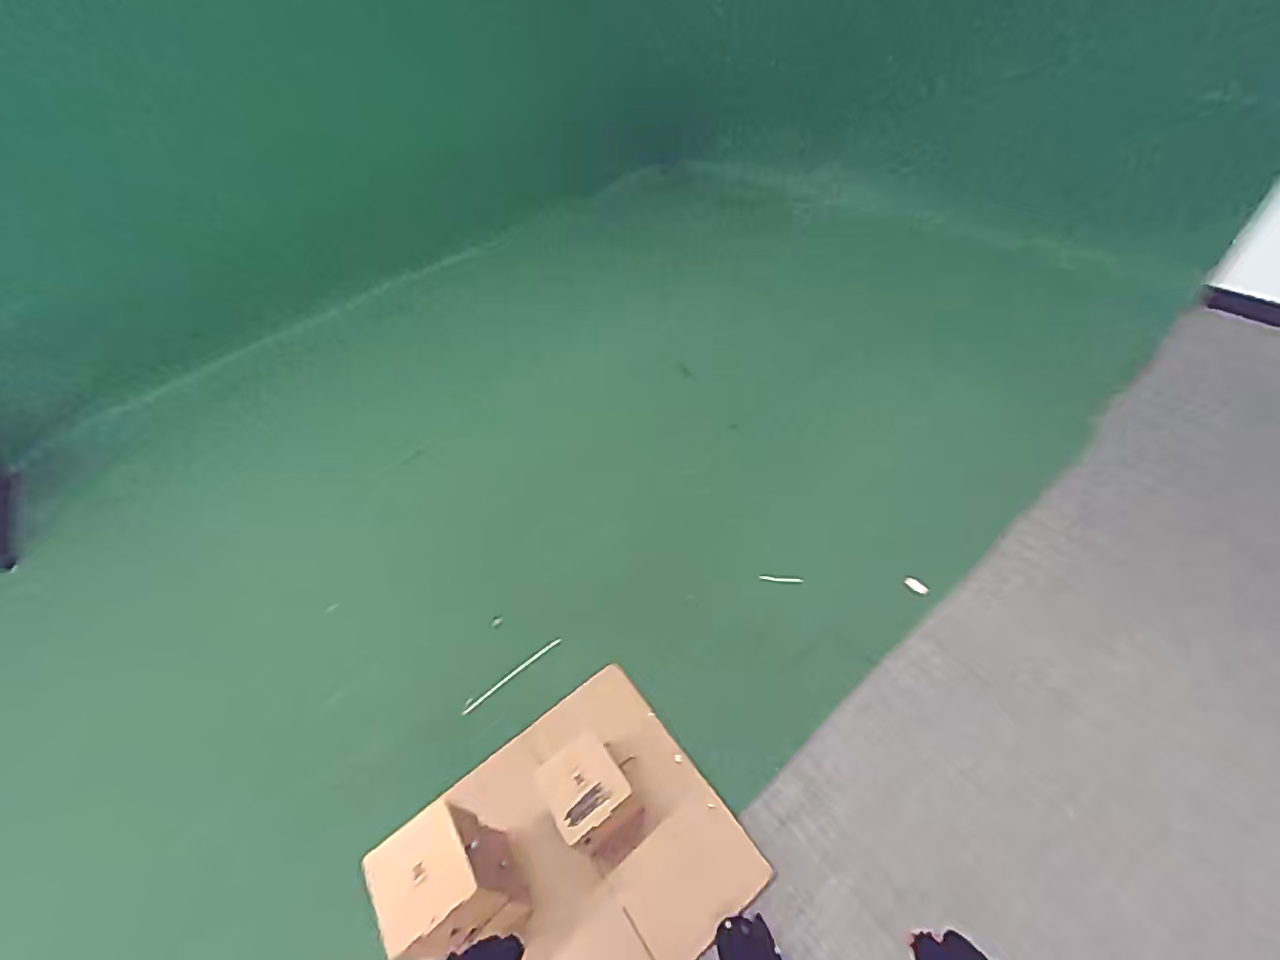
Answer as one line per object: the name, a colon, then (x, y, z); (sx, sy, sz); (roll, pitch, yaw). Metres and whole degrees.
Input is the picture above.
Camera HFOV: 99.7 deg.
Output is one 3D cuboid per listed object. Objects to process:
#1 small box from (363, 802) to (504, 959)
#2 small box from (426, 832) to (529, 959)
small box: (-0.381, 0.752, 1.014); (0.168, 0.176, 0.179); (-32, 52, -17)
small box: (-0.356, 0.866, 1.127); (0.168, 0.176, 0.179); (-34, 51, -17)
